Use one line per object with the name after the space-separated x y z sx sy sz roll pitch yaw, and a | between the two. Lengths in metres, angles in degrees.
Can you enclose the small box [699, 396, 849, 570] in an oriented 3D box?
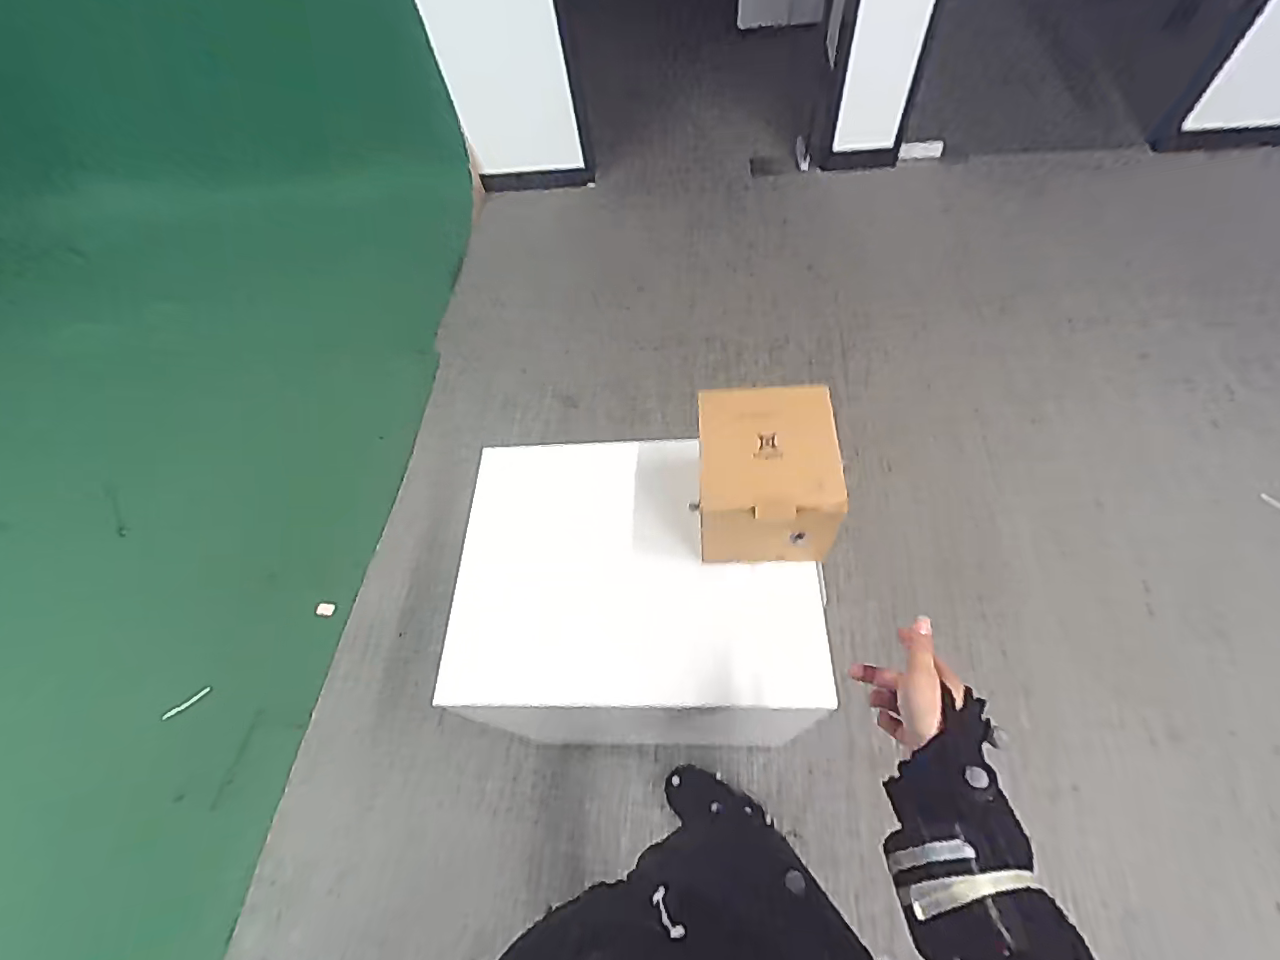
0.164 0.012 0.714 0.168 0.176 0.179 -2 58 6 | small box
